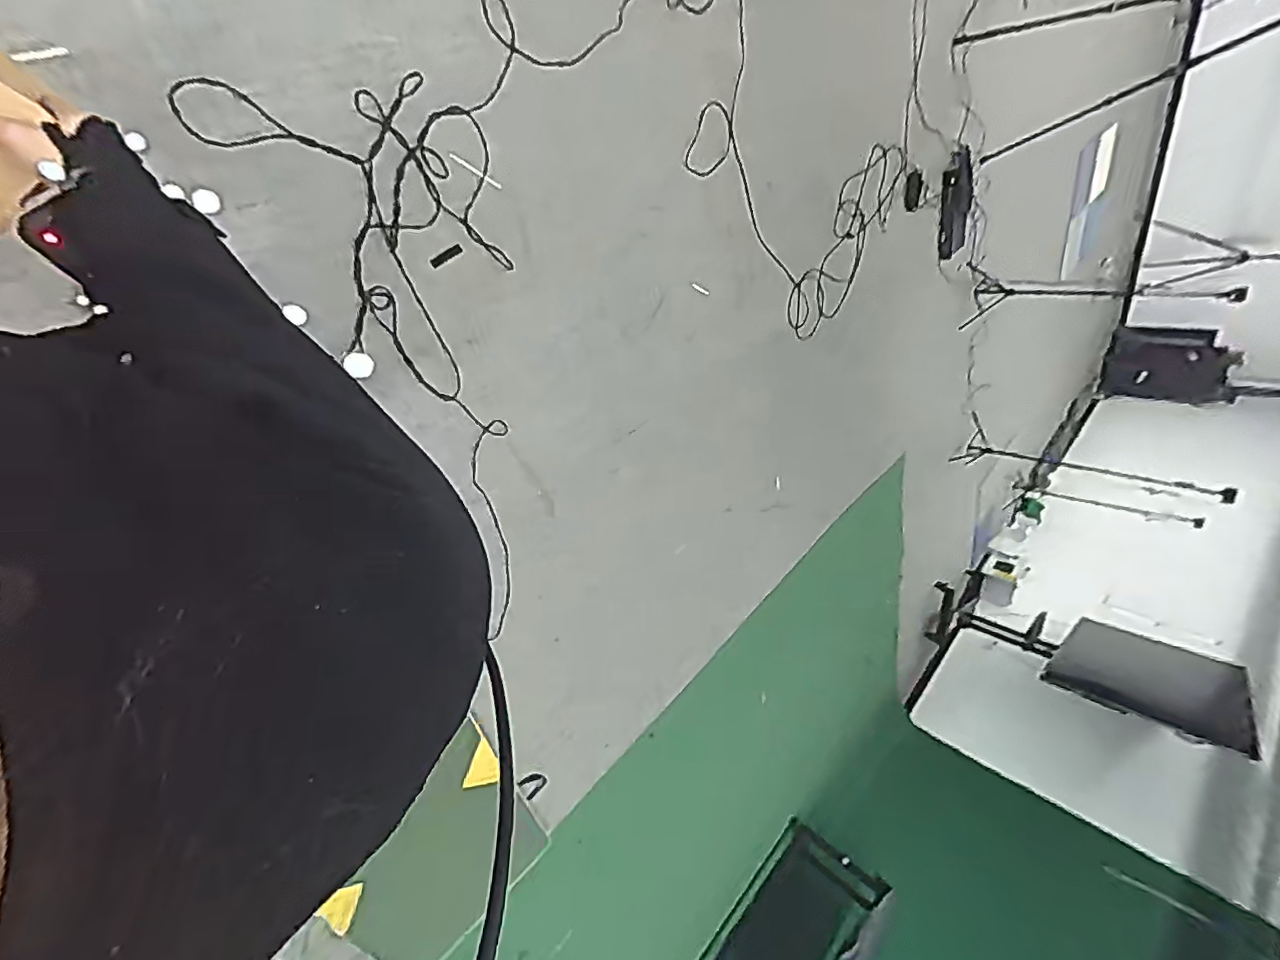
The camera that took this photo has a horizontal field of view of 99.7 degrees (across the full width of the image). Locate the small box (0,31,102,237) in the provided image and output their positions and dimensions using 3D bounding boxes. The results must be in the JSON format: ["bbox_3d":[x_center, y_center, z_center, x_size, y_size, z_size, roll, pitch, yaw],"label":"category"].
[{"bbox_3d":[-0.577,-0.302,0.405,0.168,0.176,0.179,-47,151,-4],"label":"small box"}]
